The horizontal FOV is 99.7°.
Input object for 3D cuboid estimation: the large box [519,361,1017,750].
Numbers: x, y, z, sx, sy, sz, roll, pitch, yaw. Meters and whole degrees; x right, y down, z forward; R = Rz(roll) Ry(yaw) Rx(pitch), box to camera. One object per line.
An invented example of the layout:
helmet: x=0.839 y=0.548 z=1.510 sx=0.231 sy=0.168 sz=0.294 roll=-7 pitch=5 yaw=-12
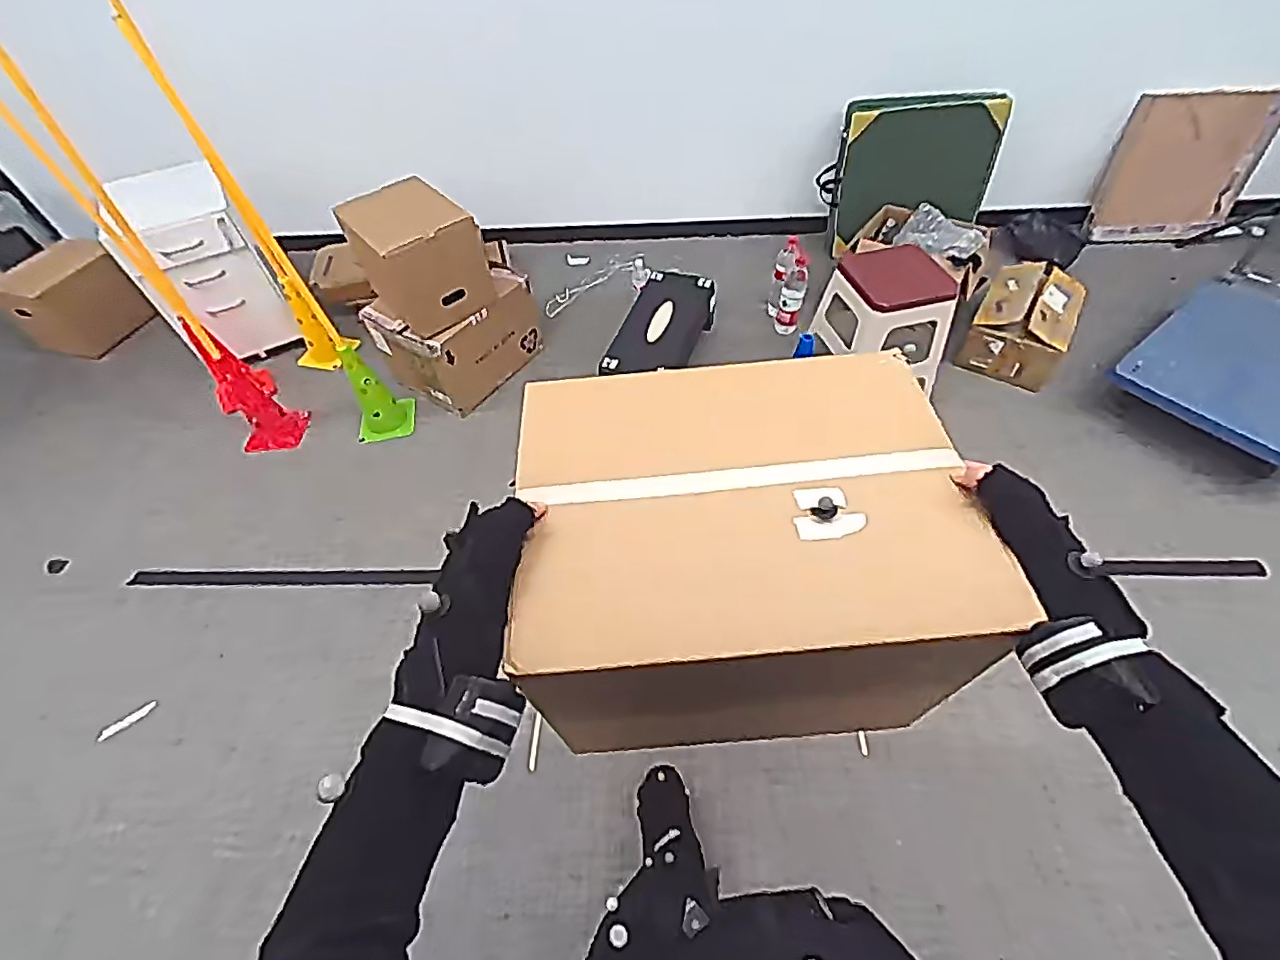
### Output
large box: x=0.096 y=0.097 z=0.628 sx=0.408 sy=0.320 sz=0.320 roll=-5 pitch=53 yaw=0
